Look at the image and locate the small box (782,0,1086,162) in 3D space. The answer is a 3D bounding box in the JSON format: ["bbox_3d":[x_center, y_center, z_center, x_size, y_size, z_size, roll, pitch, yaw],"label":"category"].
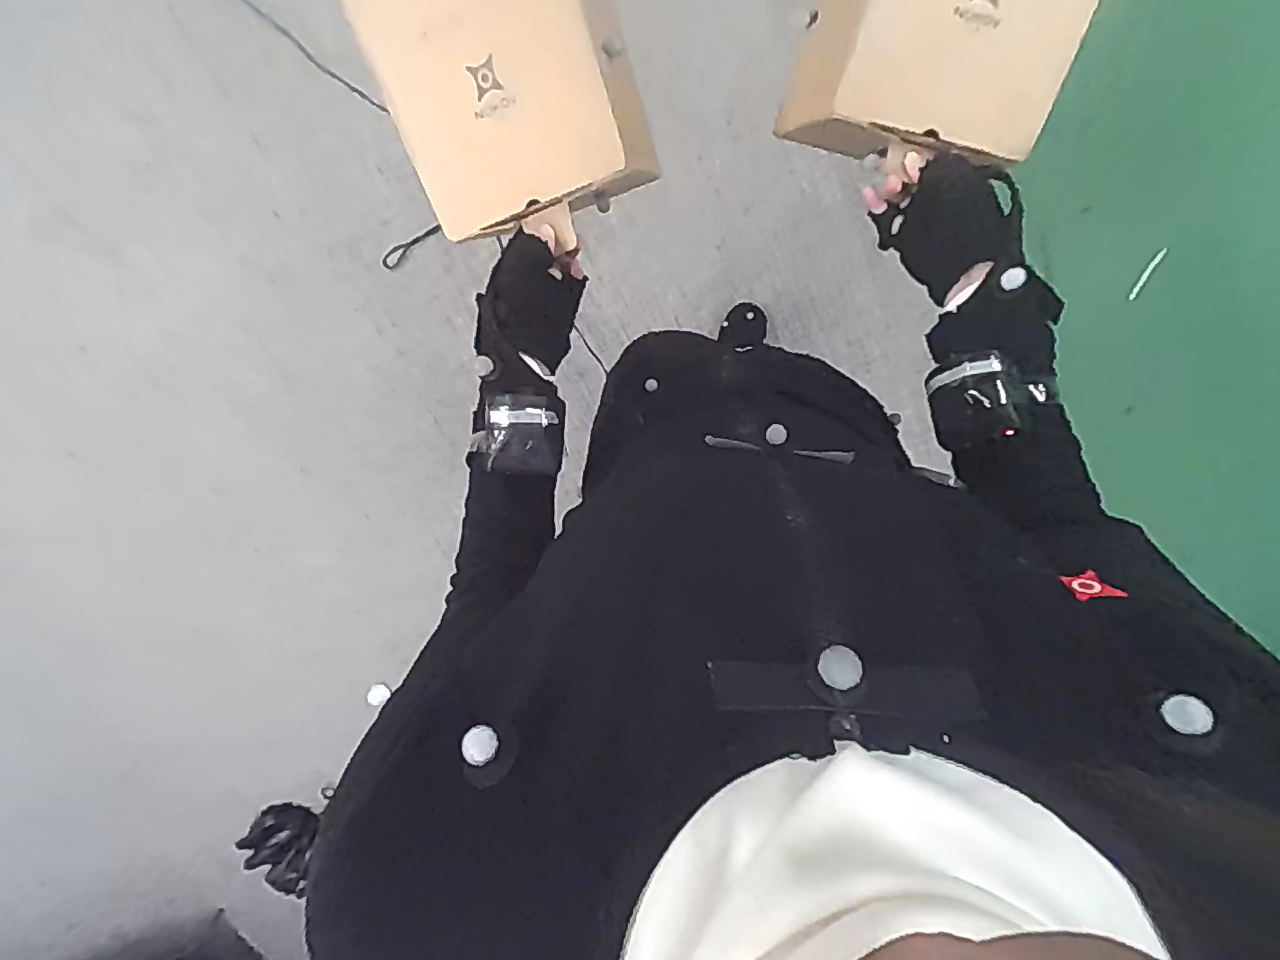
[{"bbox_3d":[0.234,-0.382,0.455,0.168,0.176,0.179,8,117,-8],"label":"small box"}]

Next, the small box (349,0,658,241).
[{"bbox_3d":[-0.093,-0.328,0.466,0.168,0.176,0.179,-14,113,17],"label":"small box"}]
